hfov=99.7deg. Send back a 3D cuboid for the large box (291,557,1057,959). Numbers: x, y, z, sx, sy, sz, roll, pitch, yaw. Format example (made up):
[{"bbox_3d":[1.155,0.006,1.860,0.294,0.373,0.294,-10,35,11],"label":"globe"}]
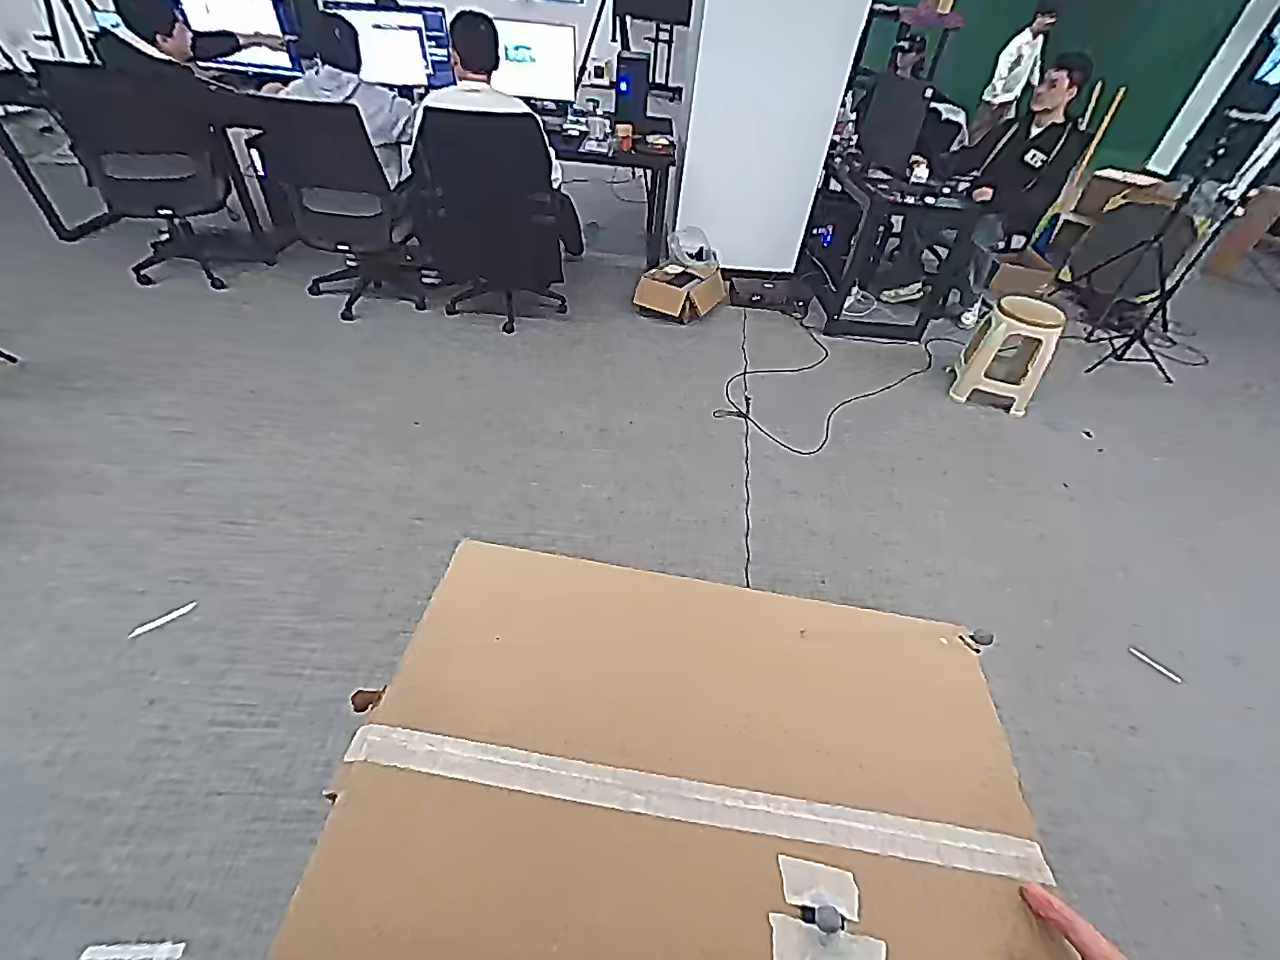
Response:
[{"bbox_3d":[0.019,0.302,0.434,0.408,0.320,0.320,10,46,1],"label":"large box"}]
